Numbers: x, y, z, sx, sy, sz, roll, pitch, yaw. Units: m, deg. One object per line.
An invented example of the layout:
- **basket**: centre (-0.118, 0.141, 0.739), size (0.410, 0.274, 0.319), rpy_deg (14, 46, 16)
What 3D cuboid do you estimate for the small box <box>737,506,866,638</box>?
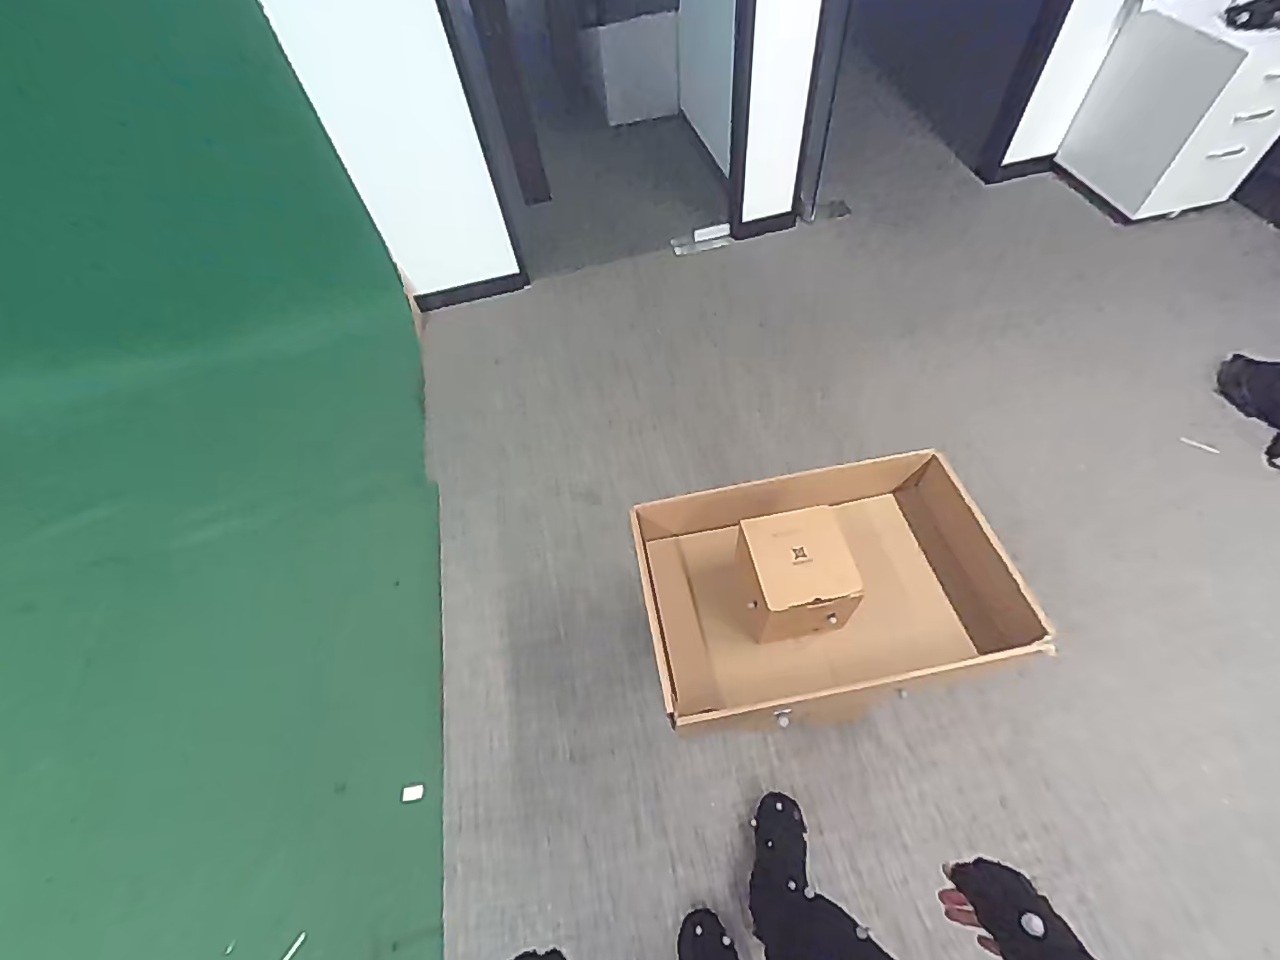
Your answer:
- **small box**: centre (0.283, 0.176, 0.989), size (0.168, 0.176, 0.179), rpy_deg (-10, 54, -3)
